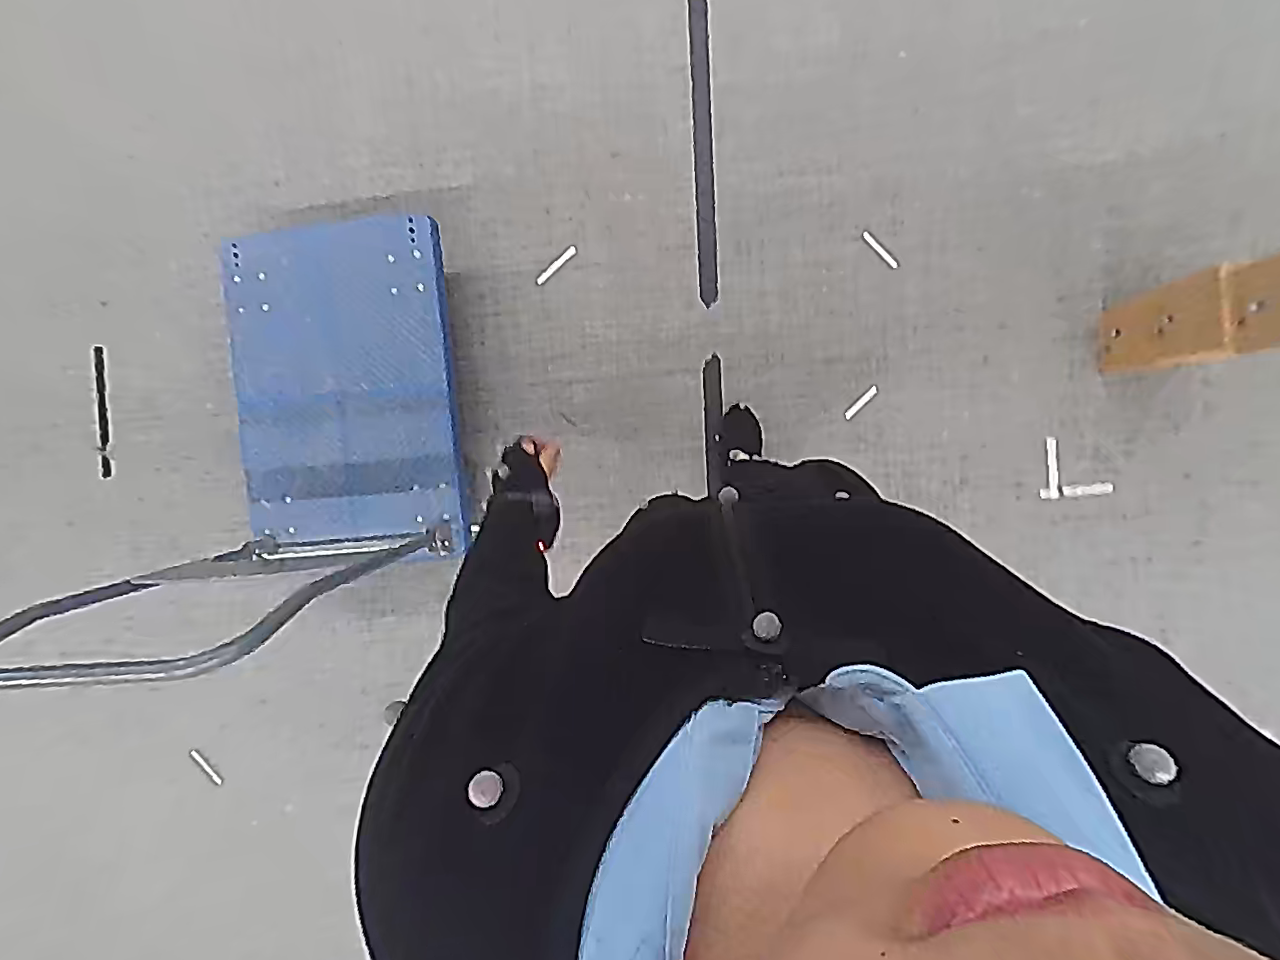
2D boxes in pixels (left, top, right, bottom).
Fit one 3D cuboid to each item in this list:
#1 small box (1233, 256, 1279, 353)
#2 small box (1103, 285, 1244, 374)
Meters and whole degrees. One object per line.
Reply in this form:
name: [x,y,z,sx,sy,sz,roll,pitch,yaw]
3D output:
small box: [1.222,-0.330,0.948,0.179,0.176,0.168,-9,91,8]
small box: [1.249,-0.349,1.276,0.179,0.176,0.168,-5,92,6]
